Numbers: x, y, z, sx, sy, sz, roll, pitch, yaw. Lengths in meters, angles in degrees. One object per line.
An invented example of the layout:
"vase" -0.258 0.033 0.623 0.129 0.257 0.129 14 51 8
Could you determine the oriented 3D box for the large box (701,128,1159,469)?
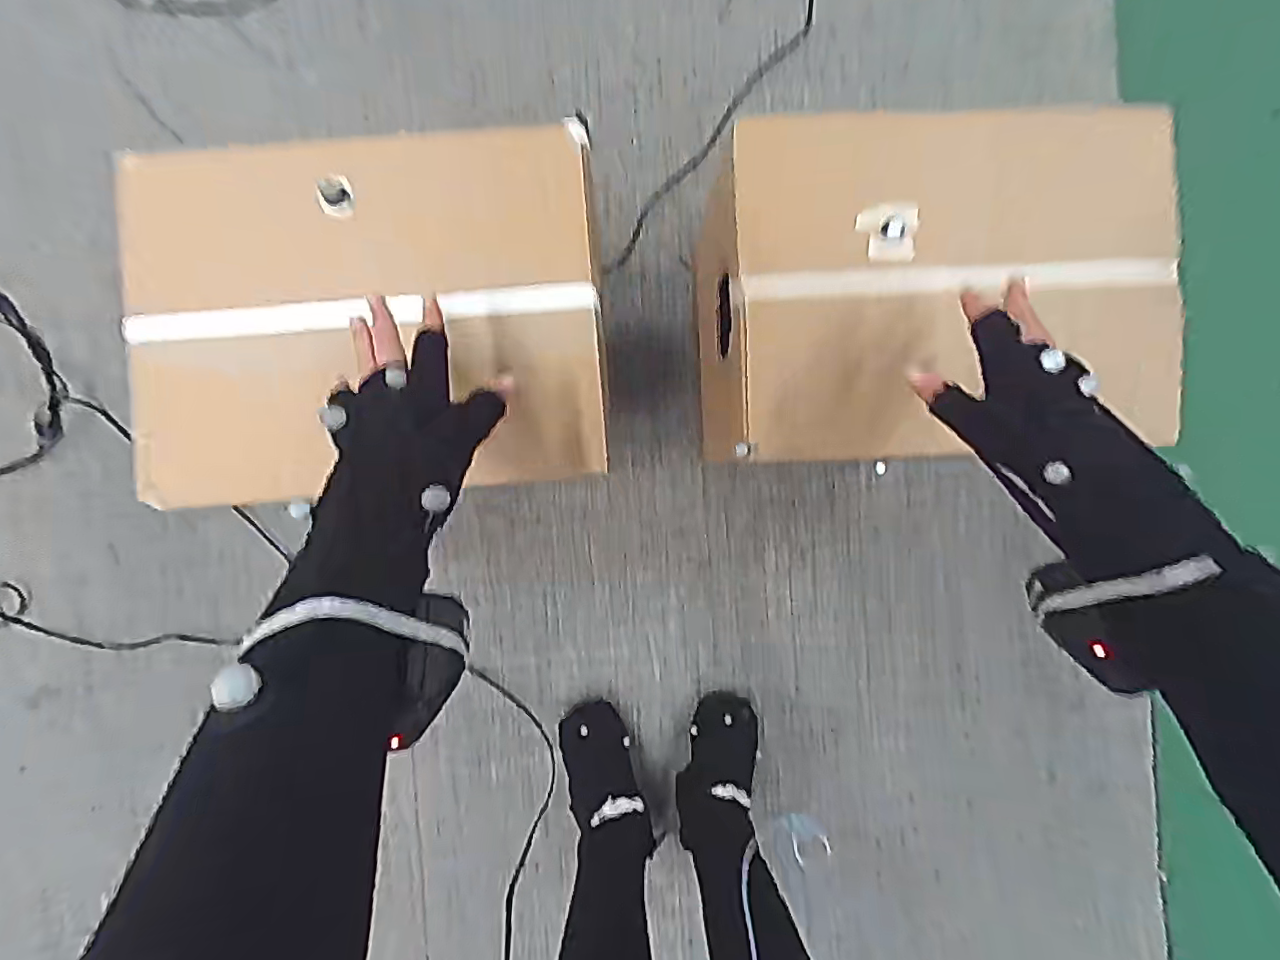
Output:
"large box" 0.296 -0.179 0.665 0.408 0.320 0.320 -2 91 -1
